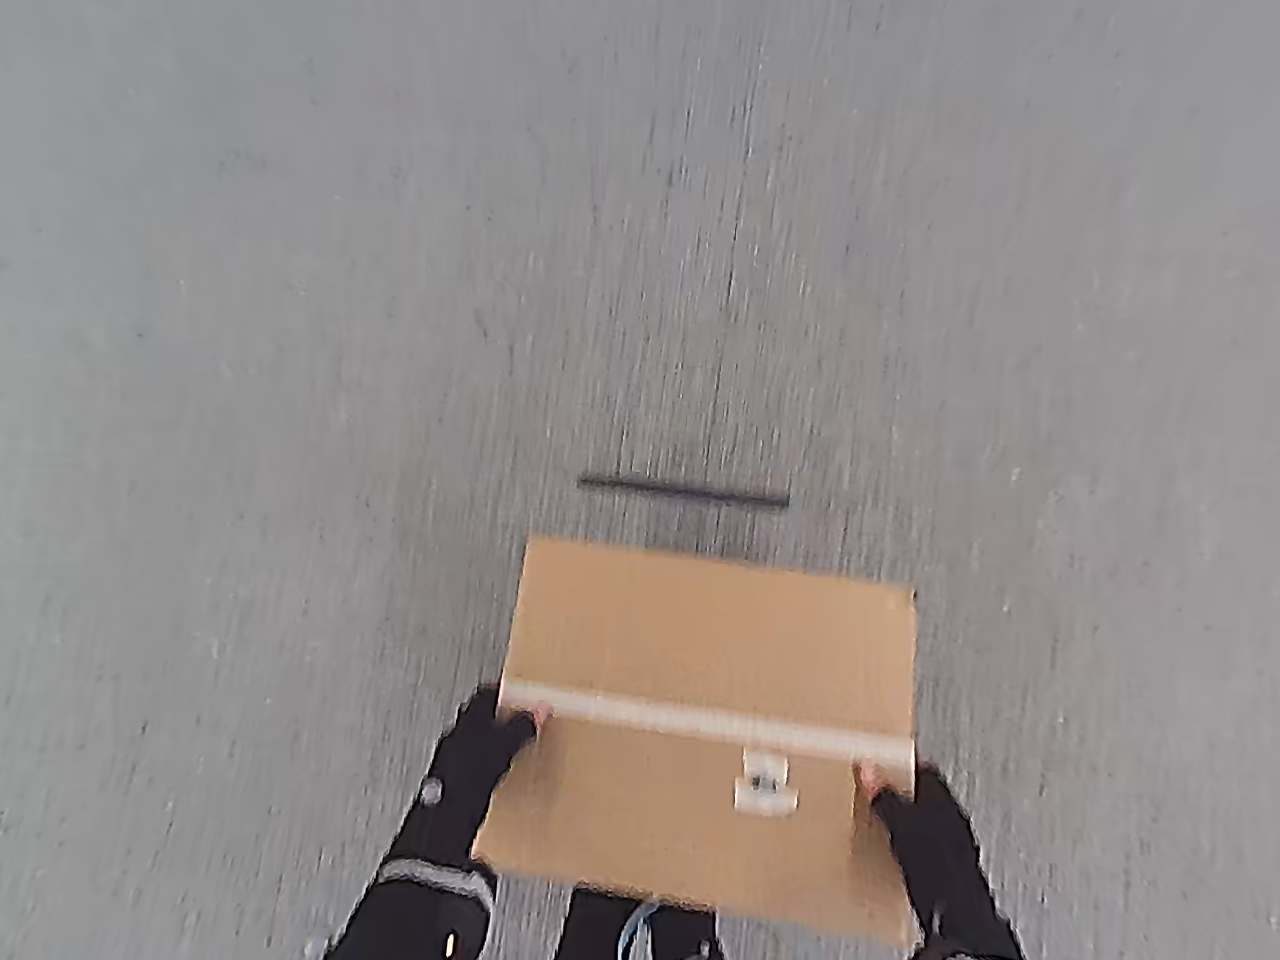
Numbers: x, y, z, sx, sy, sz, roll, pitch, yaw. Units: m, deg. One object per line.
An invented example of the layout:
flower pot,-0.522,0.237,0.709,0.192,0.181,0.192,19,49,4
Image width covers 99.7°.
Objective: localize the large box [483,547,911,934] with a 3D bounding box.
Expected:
large box,0.069,0.278,0.679,0.408,0.320,0.320,7,77,5
